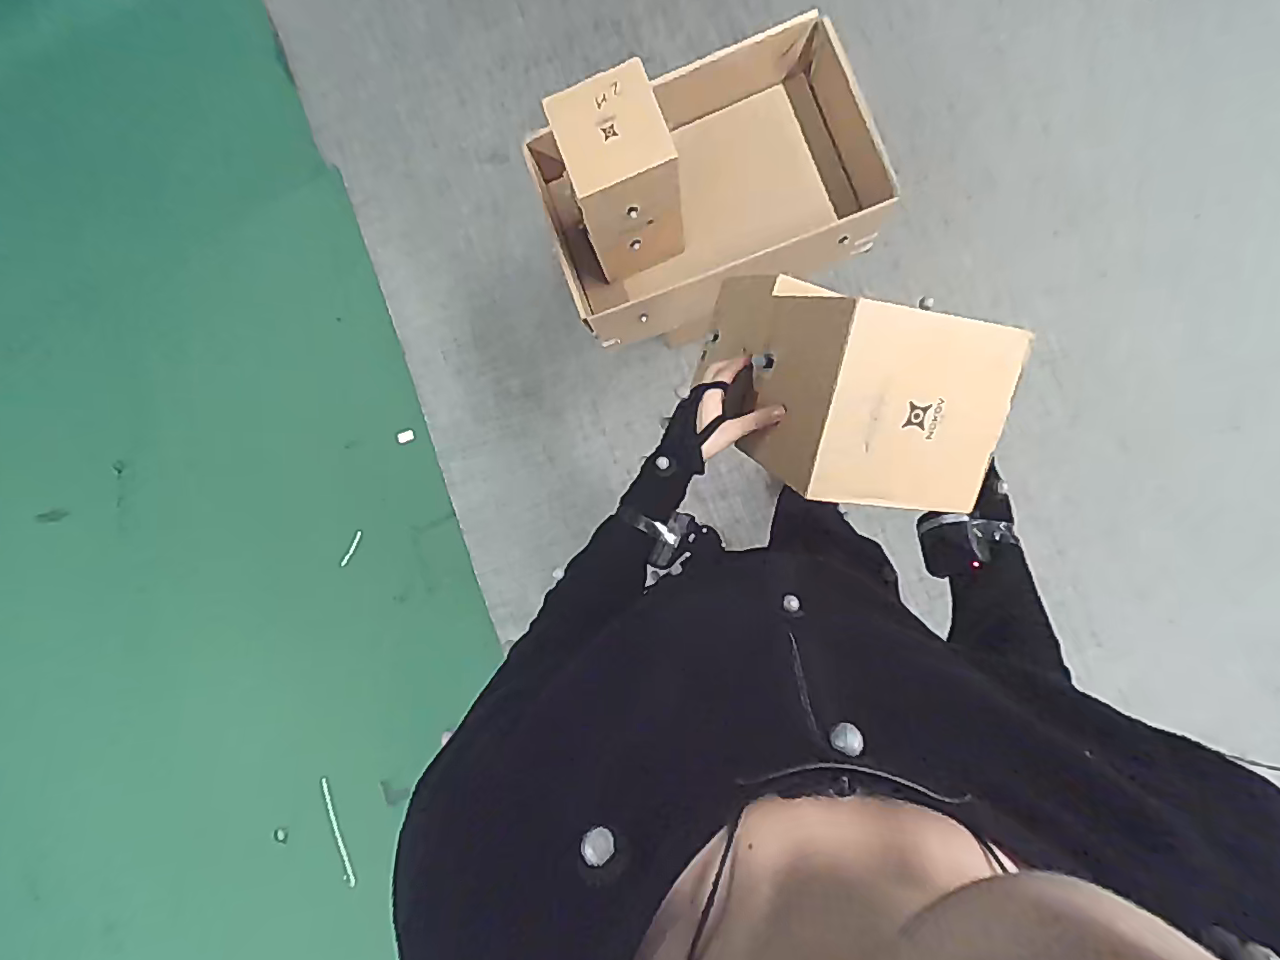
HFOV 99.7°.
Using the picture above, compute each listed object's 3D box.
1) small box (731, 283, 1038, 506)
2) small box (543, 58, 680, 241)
[{"bbox_3d":[0.210,-0.086,0.512,0.179,0.176,0.168,6,107,-14],"label":"small box"},{"bbox_3d":[-0.037,-0.526,0.895,0.168,0.176,0.179,-20,84,5],"label":"small box"}]
